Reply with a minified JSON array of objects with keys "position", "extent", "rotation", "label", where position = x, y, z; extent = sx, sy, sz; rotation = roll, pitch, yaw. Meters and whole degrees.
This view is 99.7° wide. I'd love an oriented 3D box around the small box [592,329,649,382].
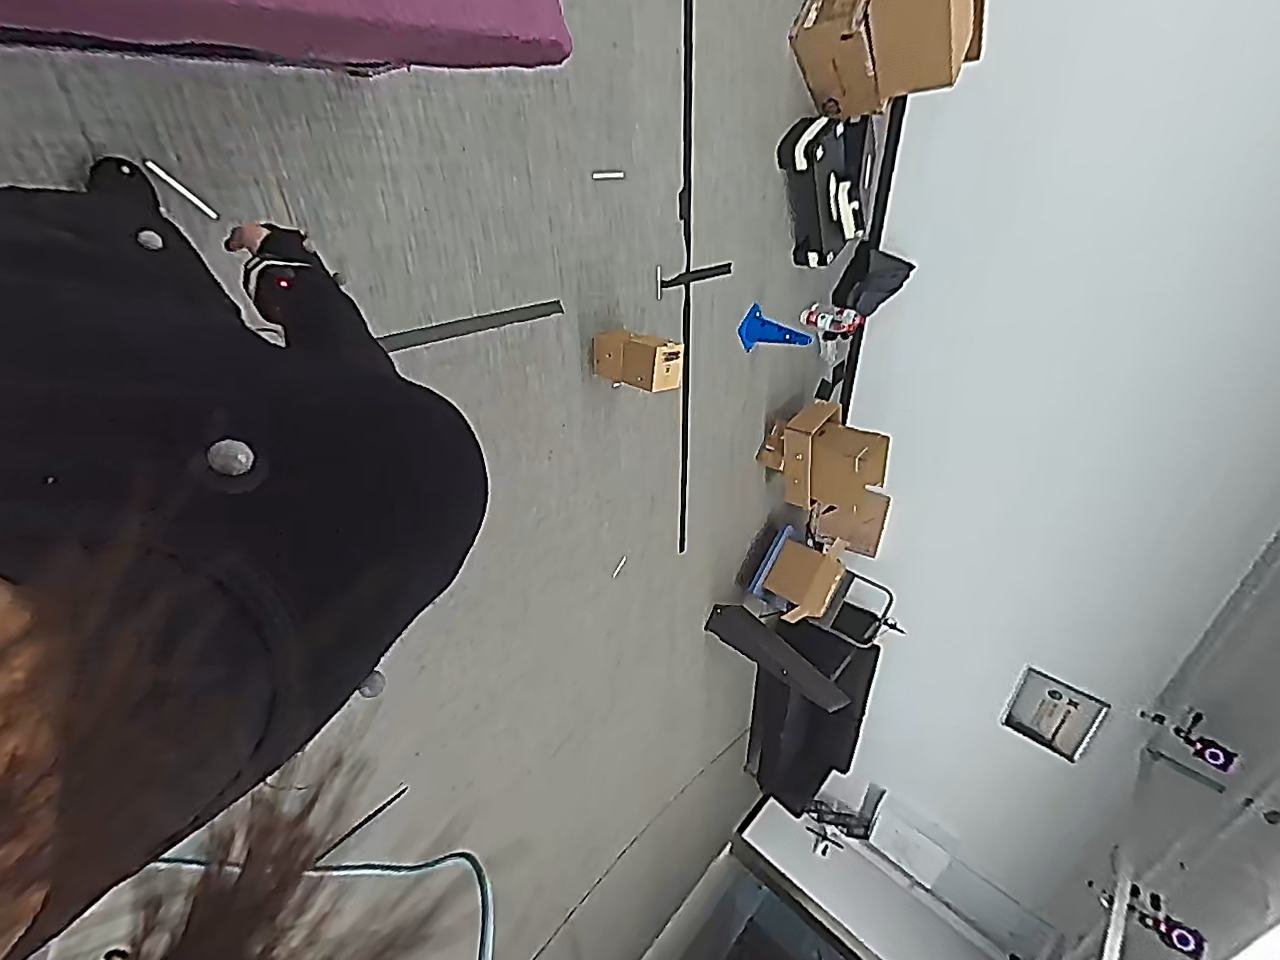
[{"position":[-0.084,-0.510,2.208],"extent":[0.179,0.176,0.168],"rotation":[-26,129,-40],"label":"small box"}]
